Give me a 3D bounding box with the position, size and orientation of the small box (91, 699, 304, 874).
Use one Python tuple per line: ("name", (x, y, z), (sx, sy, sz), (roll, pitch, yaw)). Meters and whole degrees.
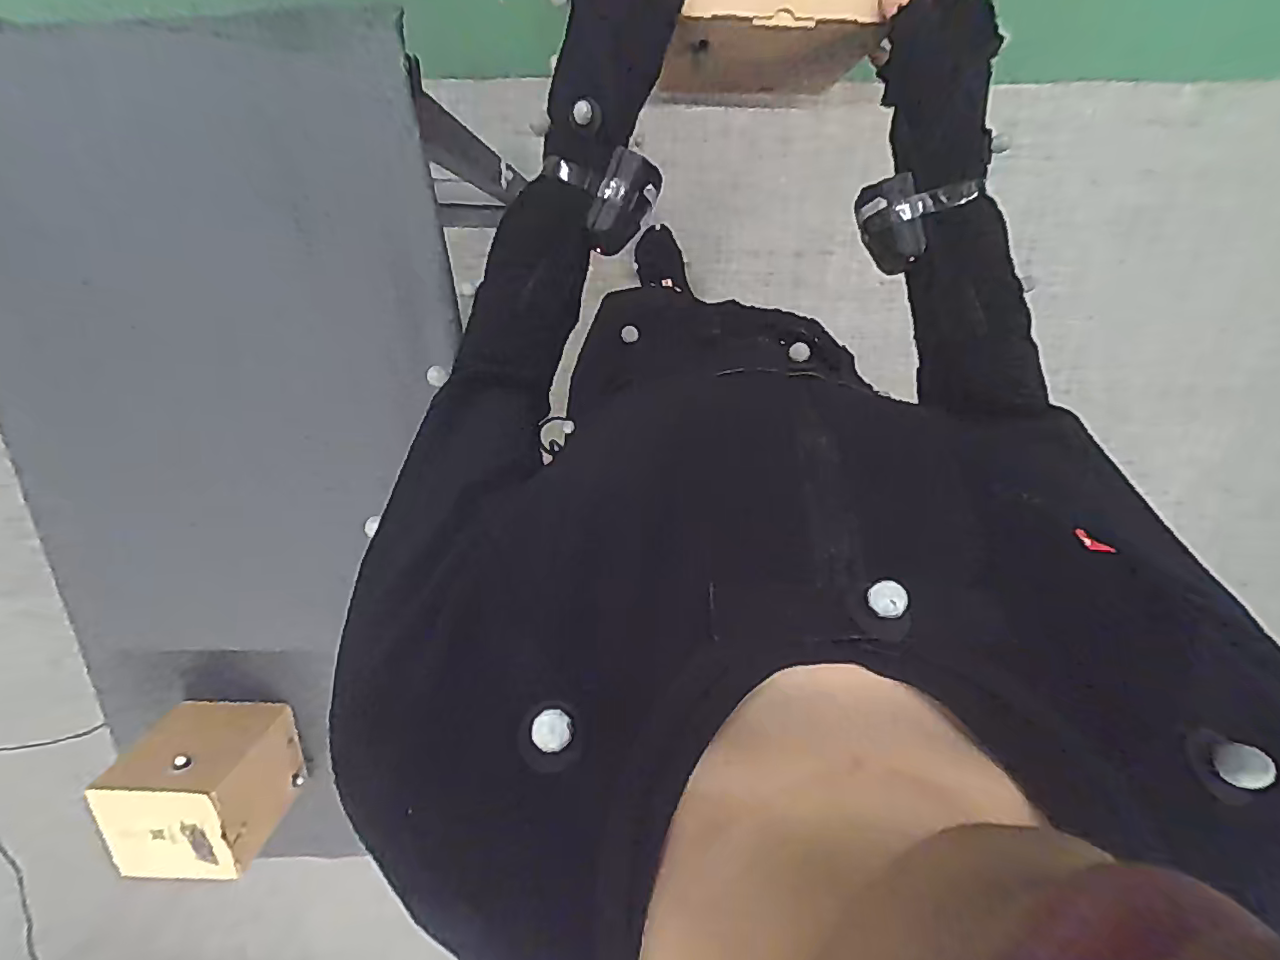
("small box", (-0.645, 0.456, 0.821), (0.179, 0.176, 0.168), (1, 109, 2))
